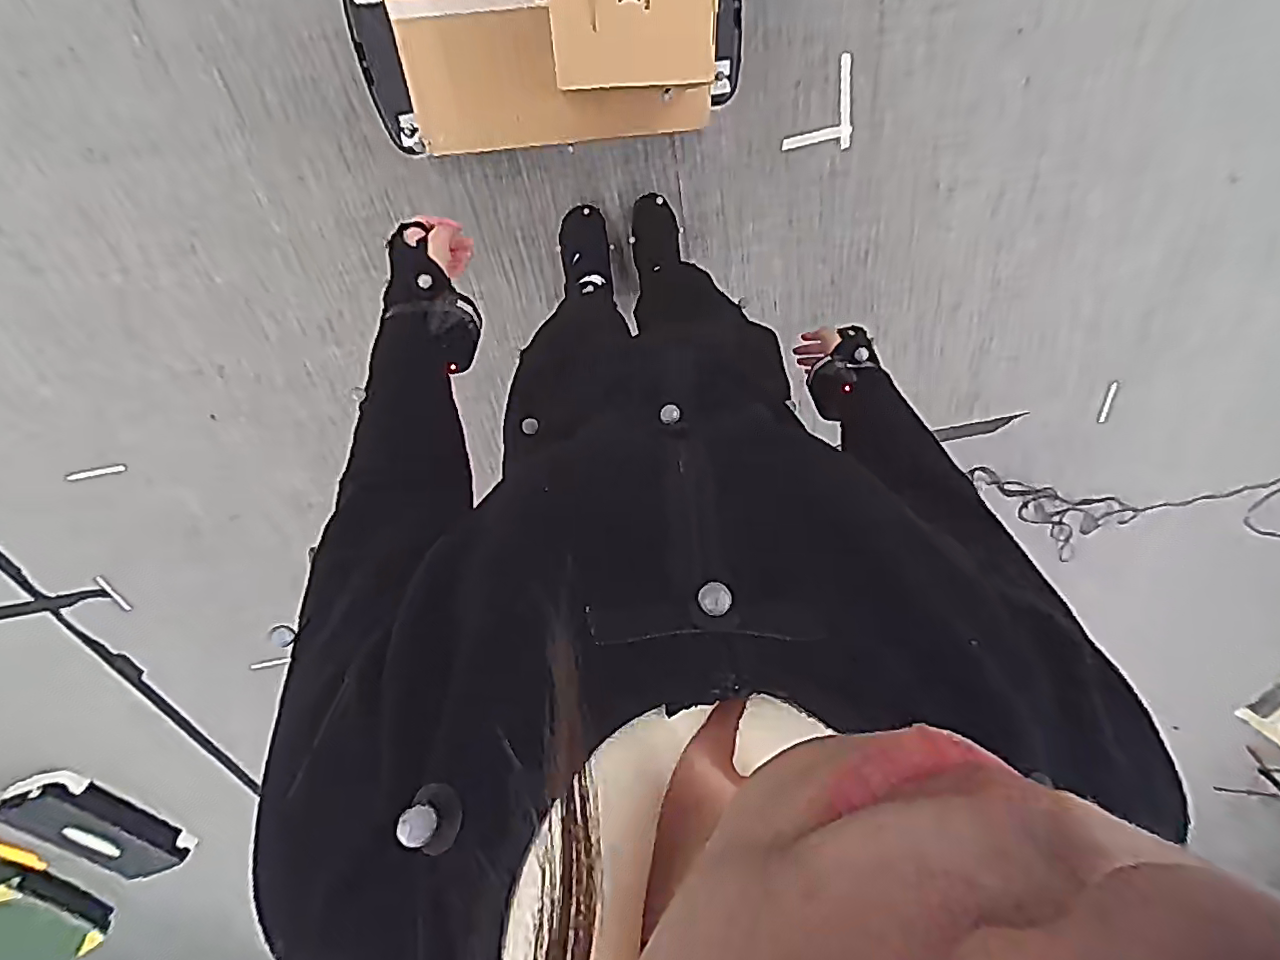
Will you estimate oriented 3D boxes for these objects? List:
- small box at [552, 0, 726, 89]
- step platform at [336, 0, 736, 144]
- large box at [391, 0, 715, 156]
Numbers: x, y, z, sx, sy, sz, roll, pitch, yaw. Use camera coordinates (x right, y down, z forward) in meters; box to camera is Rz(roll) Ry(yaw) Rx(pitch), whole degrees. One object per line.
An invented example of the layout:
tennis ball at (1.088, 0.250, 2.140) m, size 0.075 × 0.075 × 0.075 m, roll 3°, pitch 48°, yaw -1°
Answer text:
small box at (-0.009, -0.541, 0.600) m, size 0.179 × 0.176 × 0.168 m, roll -5°, pitch 123°, yaw -4°
step platform at (-0.171, -0.799, 0.990) m, size 0.684 × 0.204 × 0.286 m, roll -5°, pitch 123°, yaw -3°
large box at (-0.118, -0.679, 0.789) m, size 0.408 × 0.320 × 0.320 m, roll -7°, pitch 122°, yaw -2°
